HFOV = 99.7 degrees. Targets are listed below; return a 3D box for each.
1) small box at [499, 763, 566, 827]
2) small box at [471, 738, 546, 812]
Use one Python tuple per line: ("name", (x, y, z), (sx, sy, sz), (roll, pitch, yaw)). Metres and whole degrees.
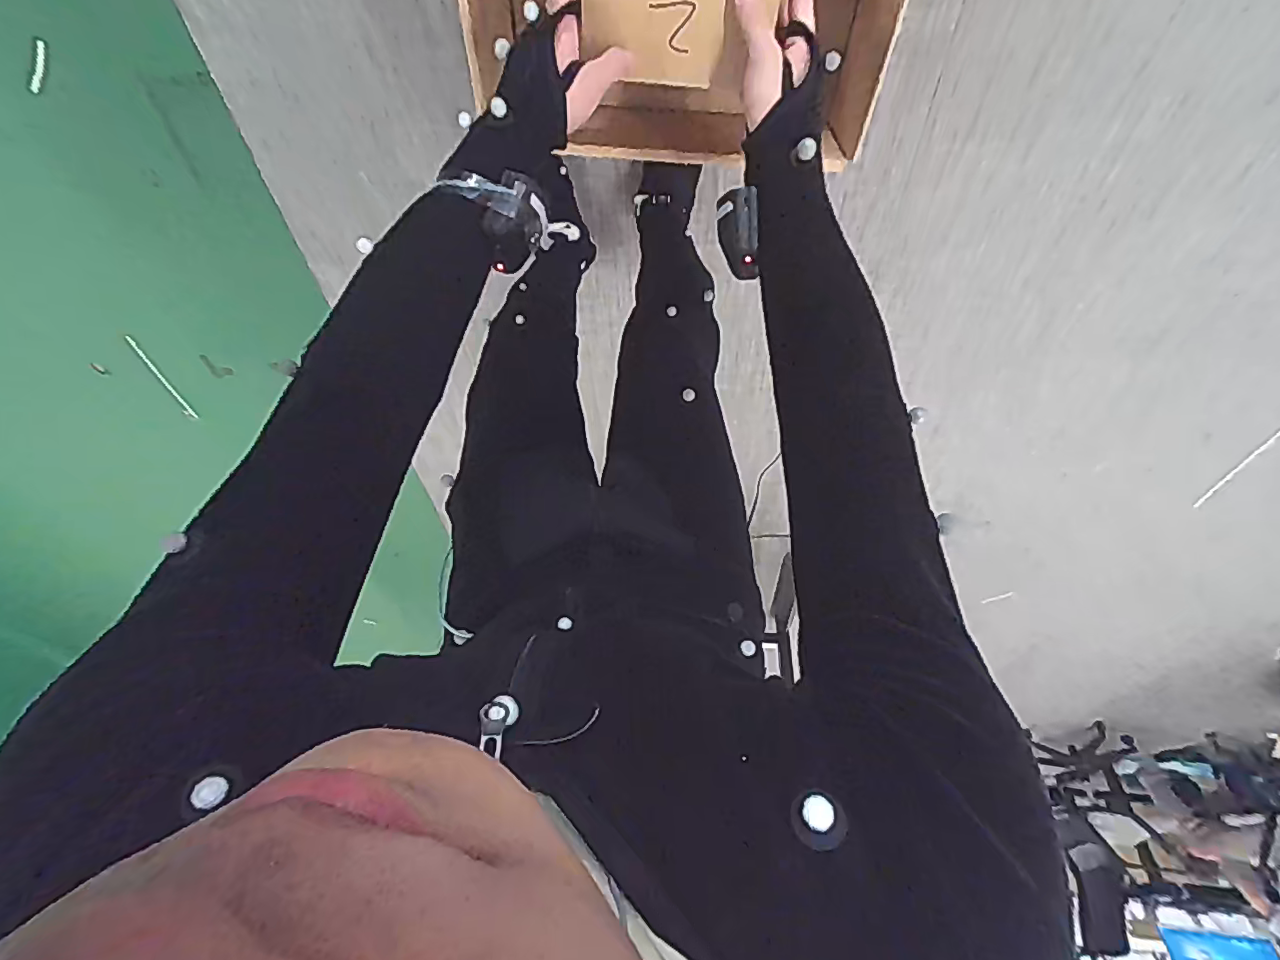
("small box", (-0.373, 1.111, 1.910), (0.179, 0.176, 0.168), (-2, 138, 8))
("small box", (-0.399, 0.906, 1.667), (0.179, 0.176, 0.168), (4, 141, 1))
